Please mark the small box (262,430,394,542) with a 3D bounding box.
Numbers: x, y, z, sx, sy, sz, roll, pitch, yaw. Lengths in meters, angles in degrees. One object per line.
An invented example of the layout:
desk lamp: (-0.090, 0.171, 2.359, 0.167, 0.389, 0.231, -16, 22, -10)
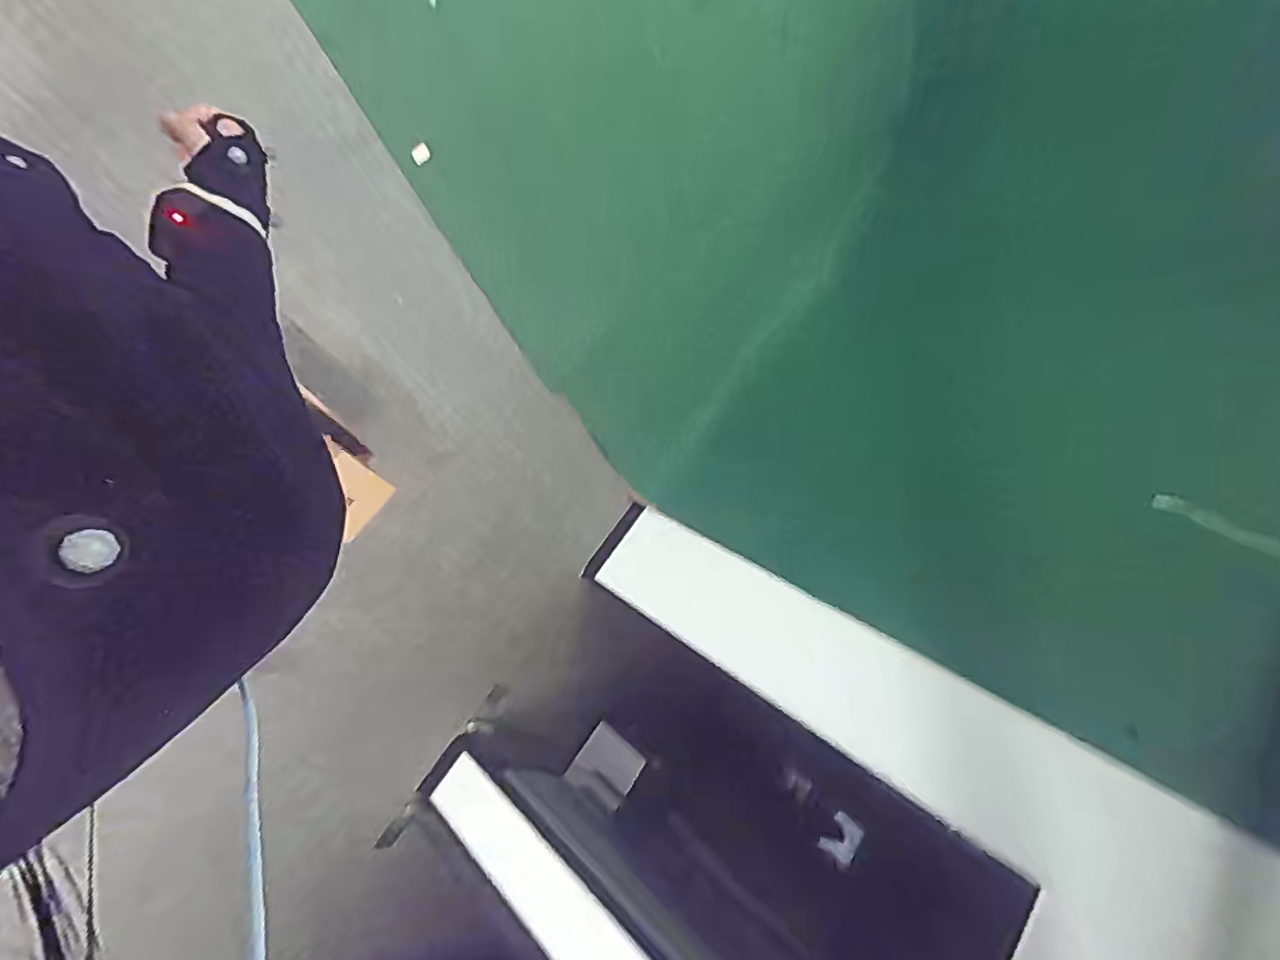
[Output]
small box: (-0.725, 0.010, 1.260, 0.168, 0.176, 0.179, -53, 145, -15)
